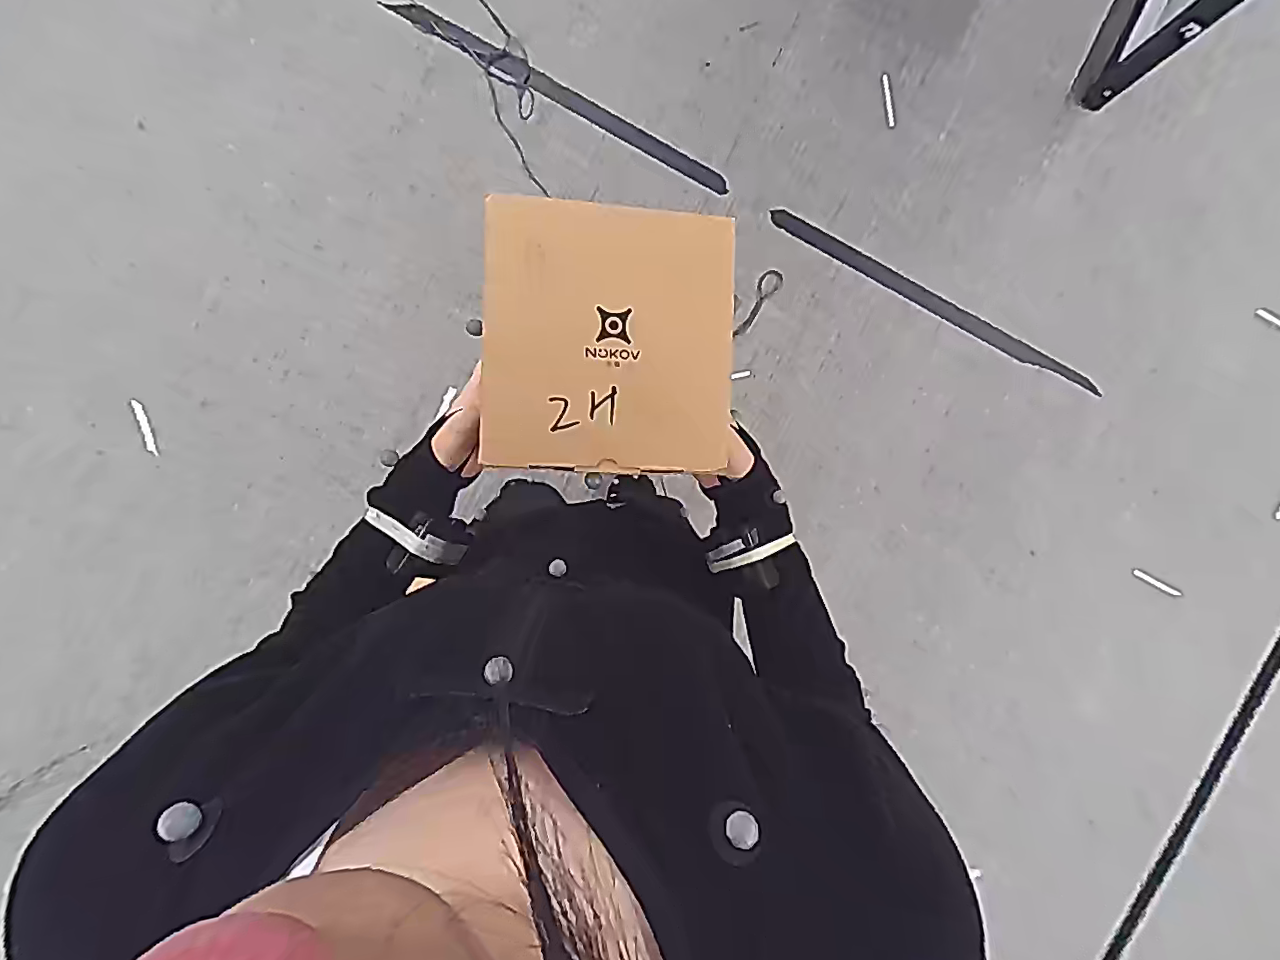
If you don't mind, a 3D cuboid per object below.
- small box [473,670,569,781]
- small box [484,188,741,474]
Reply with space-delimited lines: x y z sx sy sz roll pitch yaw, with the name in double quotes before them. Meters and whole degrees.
"small box" -0.302 0.633 1.418 0.179 0.176 0.168 35 91 -4
"small box" -0.028 -0.096 0.433 0.168 0.176 0.179 2 91 -9
